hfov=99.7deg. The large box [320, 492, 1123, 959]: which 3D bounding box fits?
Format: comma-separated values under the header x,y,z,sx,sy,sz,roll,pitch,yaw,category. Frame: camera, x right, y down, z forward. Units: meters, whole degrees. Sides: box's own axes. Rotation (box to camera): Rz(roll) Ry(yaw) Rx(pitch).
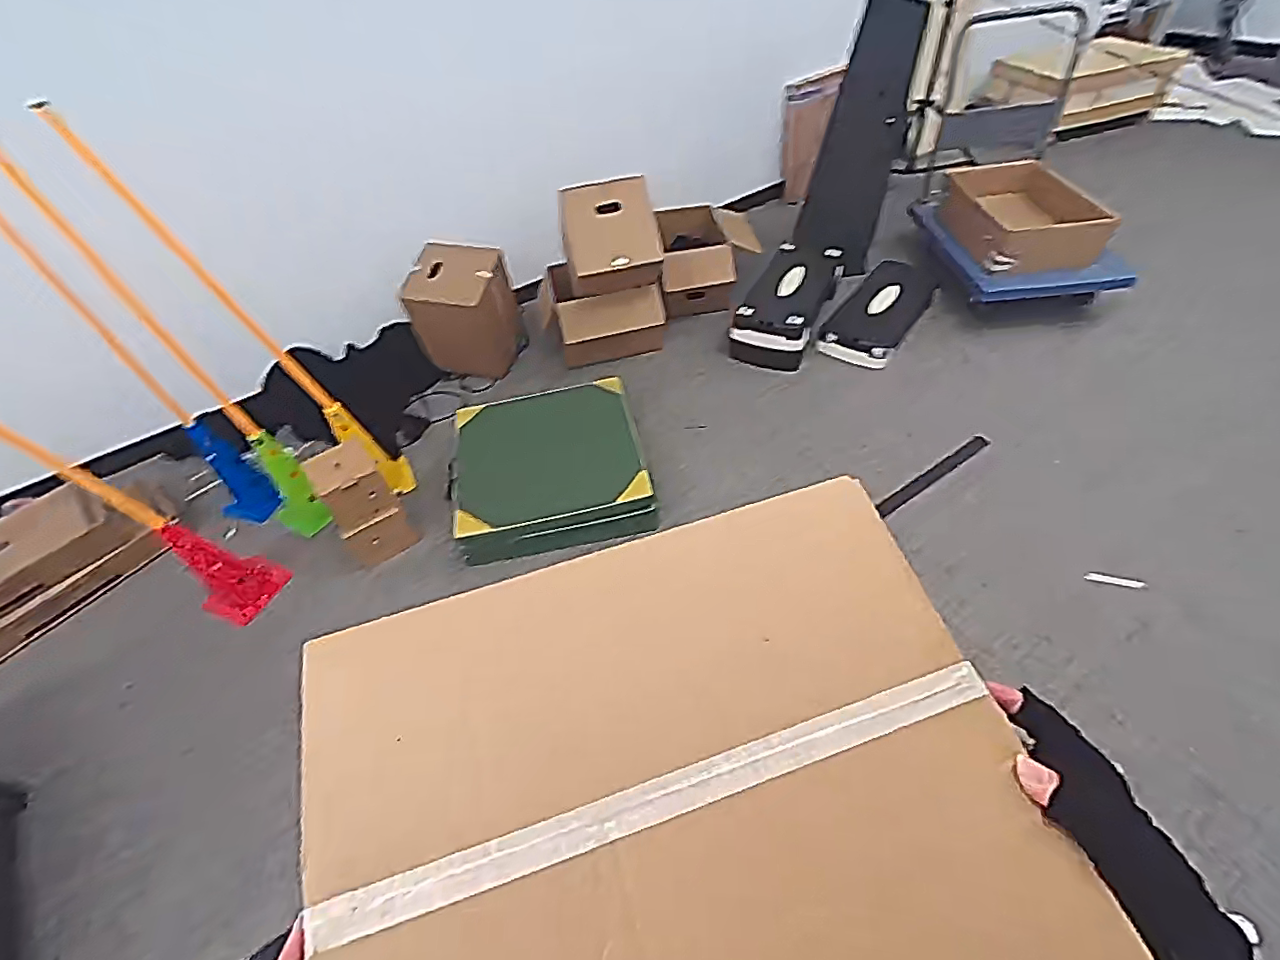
x,y,z,sx,sy,sz,roll,pitch,yaw,category
0.024,0.262,0.449,0.408,0.320,0.320,-16,60,-7,large box
